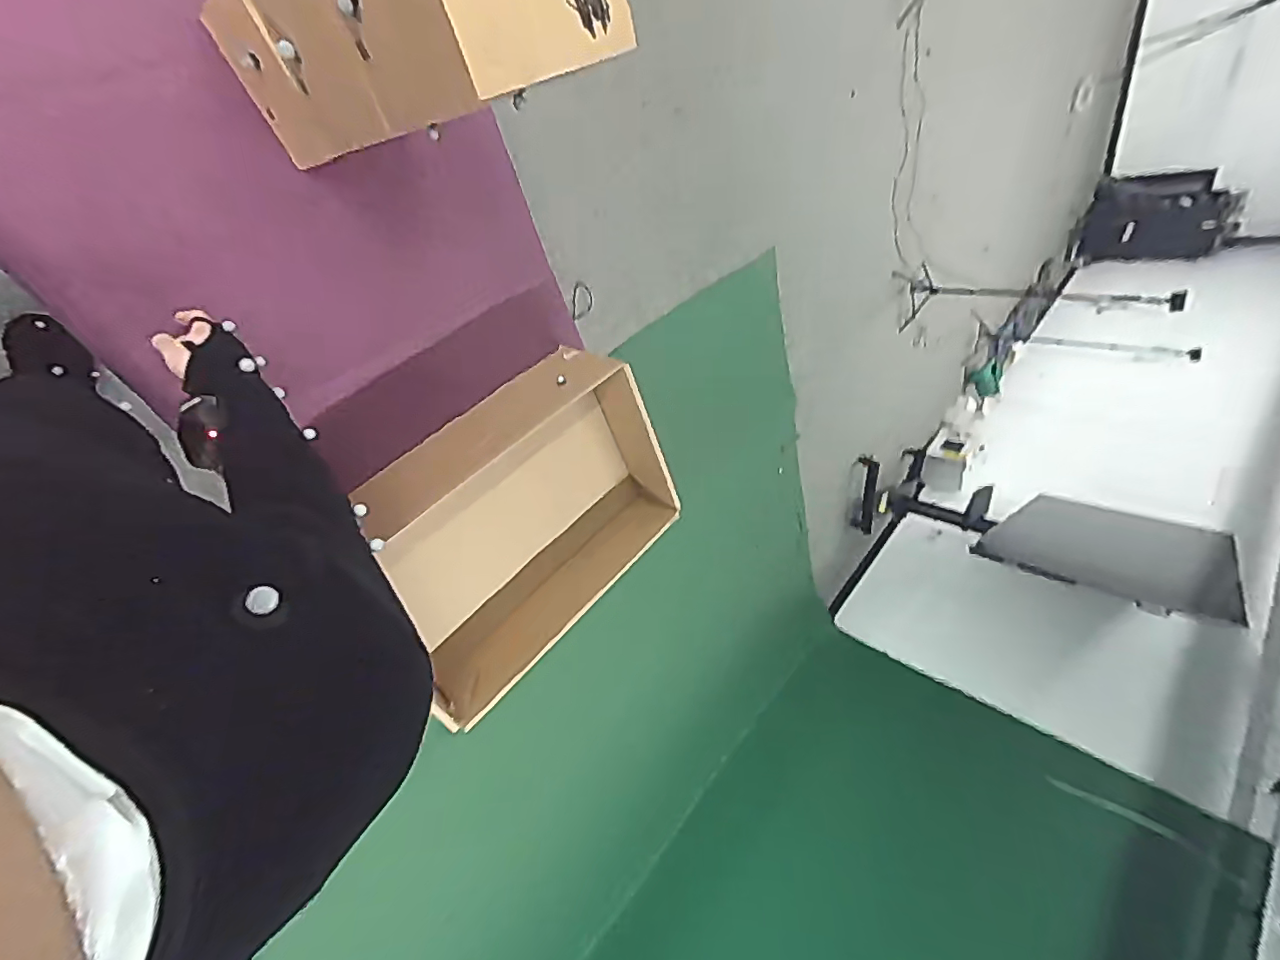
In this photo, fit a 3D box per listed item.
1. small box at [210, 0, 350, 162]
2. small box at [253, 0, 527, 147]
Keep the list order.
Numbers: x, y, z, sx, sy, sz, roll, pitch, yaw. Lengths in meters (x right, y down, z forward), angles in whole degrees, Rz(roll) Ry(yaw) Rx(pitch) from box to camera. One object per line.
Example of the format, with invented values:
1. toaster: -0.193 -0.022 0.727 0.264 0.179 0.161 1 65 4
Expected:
1. small box: -0.370 -0.506 0.648 0.179 0.176 0.168 -45 133 -25
2. small box: -0.252 -0.458 0.544 0.179 0.176 0.168 -40 131 -27
